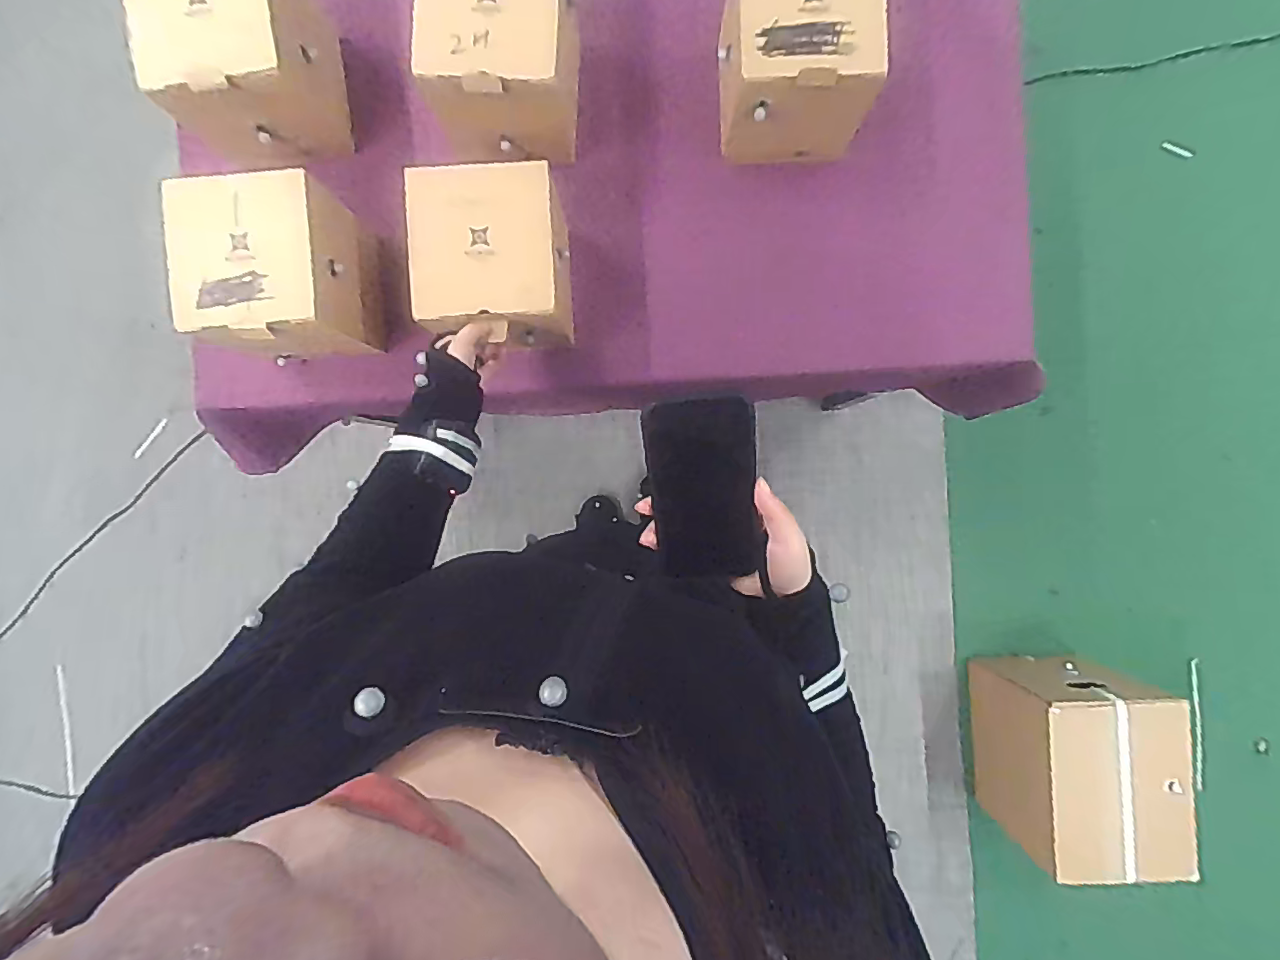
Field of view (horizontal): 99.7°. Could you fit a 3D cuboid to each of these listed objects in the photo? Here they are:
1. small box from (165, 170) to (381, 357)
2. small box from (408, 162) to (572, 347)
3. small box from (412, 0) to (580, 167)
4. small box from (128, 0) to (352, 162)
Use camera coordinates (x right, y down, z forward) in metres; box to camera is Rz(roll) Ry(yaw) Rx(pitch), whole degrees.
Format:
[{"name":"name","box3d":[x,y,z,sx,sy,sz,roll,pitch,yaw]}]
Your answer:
[{"name":"small box","box3d":[-0.455,-0.262,0.698,0.168,0.176,0.179,-4,89,0]},{"name":"small box","box3d":[-0.181,-0.273,0.696,0.168,0.176,0.179,-2,90,0]},{"name":"small box","box3d":[-0.171,-0.539,0.692,0.168,0.176,0.179,4,91,1]},{"name":"small box","box3d":[-0.497,-0.538,0.695,0.168,0.176,0.179,-7,92,0]}]
